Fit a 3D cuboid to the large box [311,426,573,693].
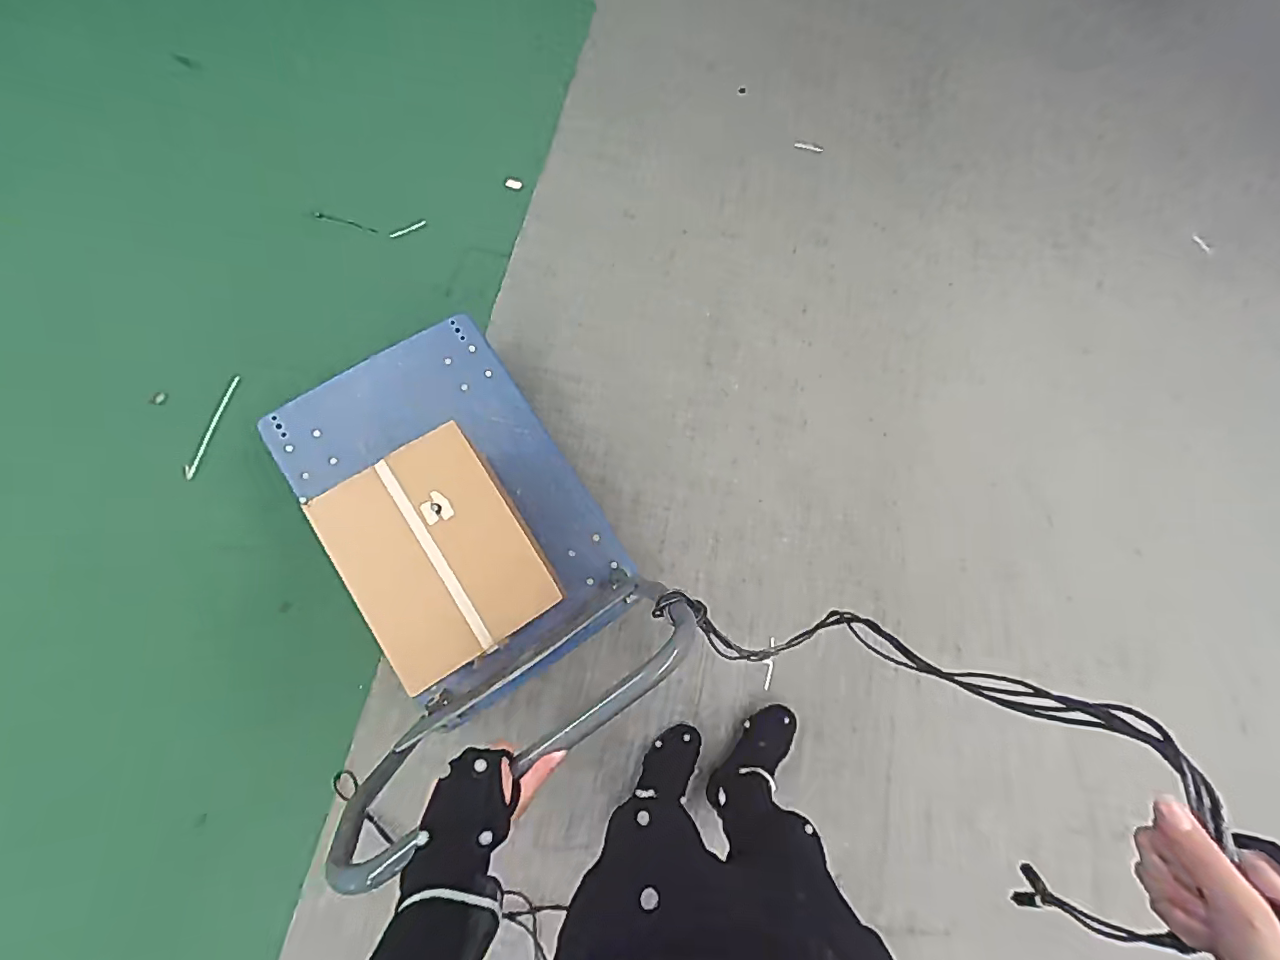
[{"bbox_3d":[-0.379,0.164,1.136,0.320,0.320,0.408,-32,83,-11],"label":"large box"}]
